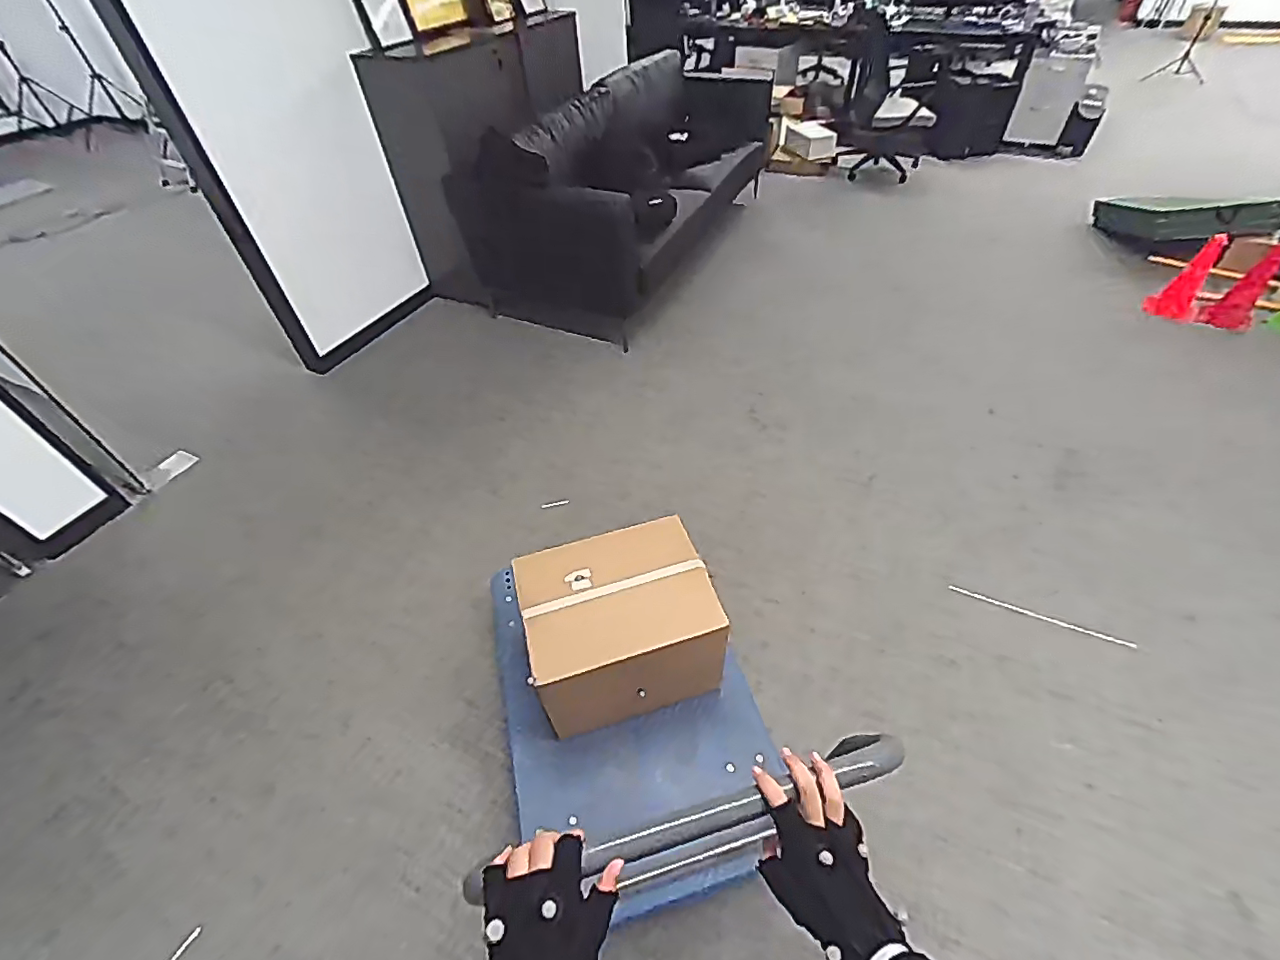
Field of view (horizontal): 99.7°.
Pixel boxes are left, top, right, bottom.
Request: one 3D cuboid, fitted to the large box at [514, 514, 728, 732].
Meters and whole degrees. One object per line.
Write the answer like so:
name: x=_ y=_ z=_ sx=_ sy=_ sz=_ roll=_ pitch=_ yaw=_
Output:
large box: x=-0.044 y=0.336 z=1.276 sx=0.408 sy=0.320 sz=0.320 roll=-15 pitch=48 yaw=-10
